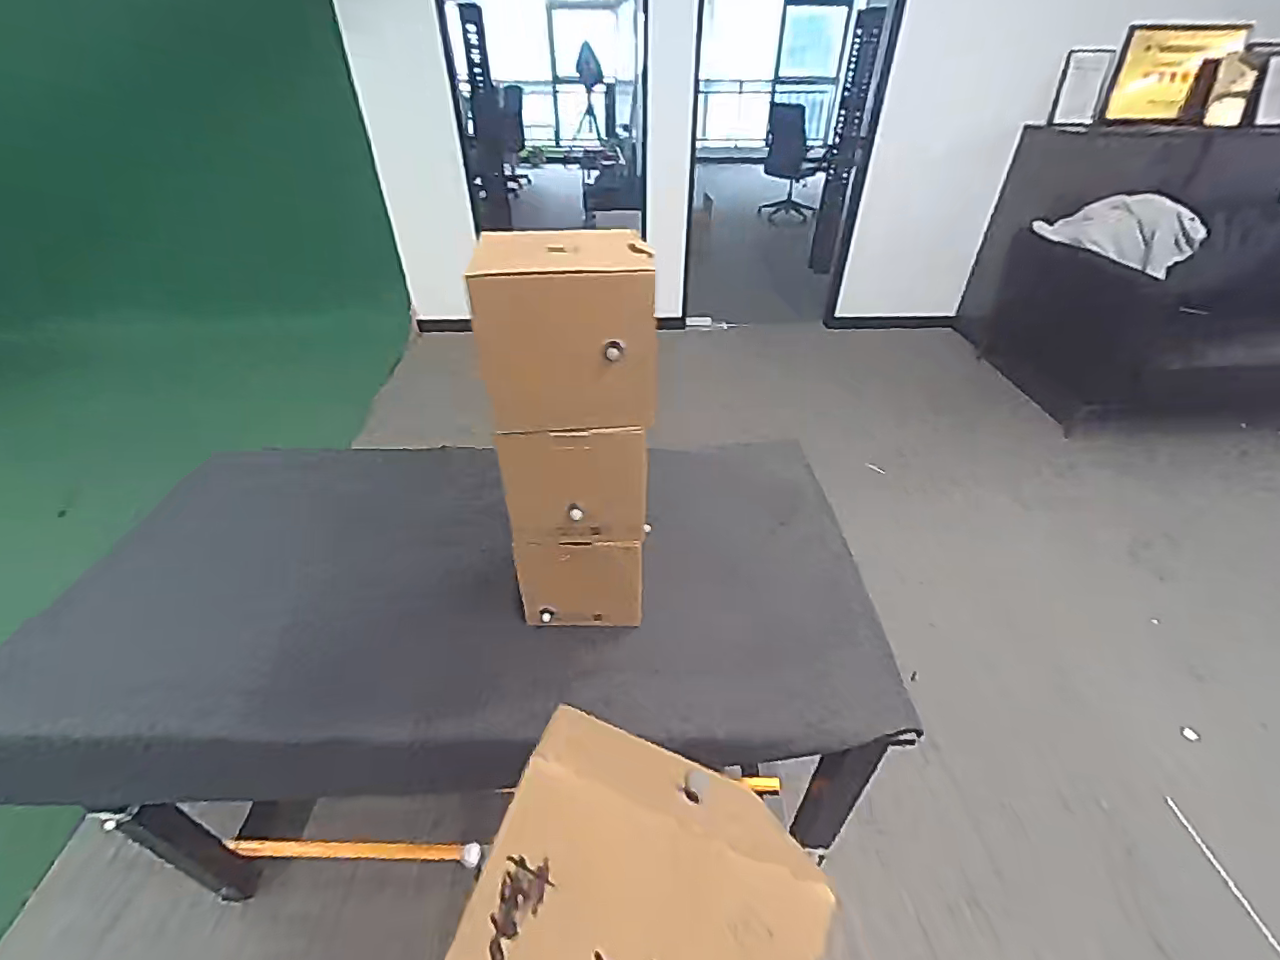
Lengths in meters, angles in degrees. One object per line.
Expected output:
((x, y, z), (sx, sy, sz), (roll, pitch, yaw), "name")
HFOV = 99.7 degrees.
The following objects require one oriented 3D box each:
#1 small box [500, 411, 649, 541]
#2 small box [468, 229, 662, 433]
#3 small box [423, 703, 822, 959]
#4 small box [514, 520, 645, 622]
((-0.075, -0.041, 0.700), (0.168, 0.176, 0.179), (-1, 38, -1), "small box")
((-0.076, -0.166, 0.597), (0.179, 0.176, 0.168), (-5, 37, -5), "small box")
((-0.021, 0.260, 0.341), (0.179, 0.176, 0.168), (23, 76, 1), "small box")
((-0.077, 0.092, 0.798), (0.168, 0.176, 0.179), (1, 37, 0), "small box")
